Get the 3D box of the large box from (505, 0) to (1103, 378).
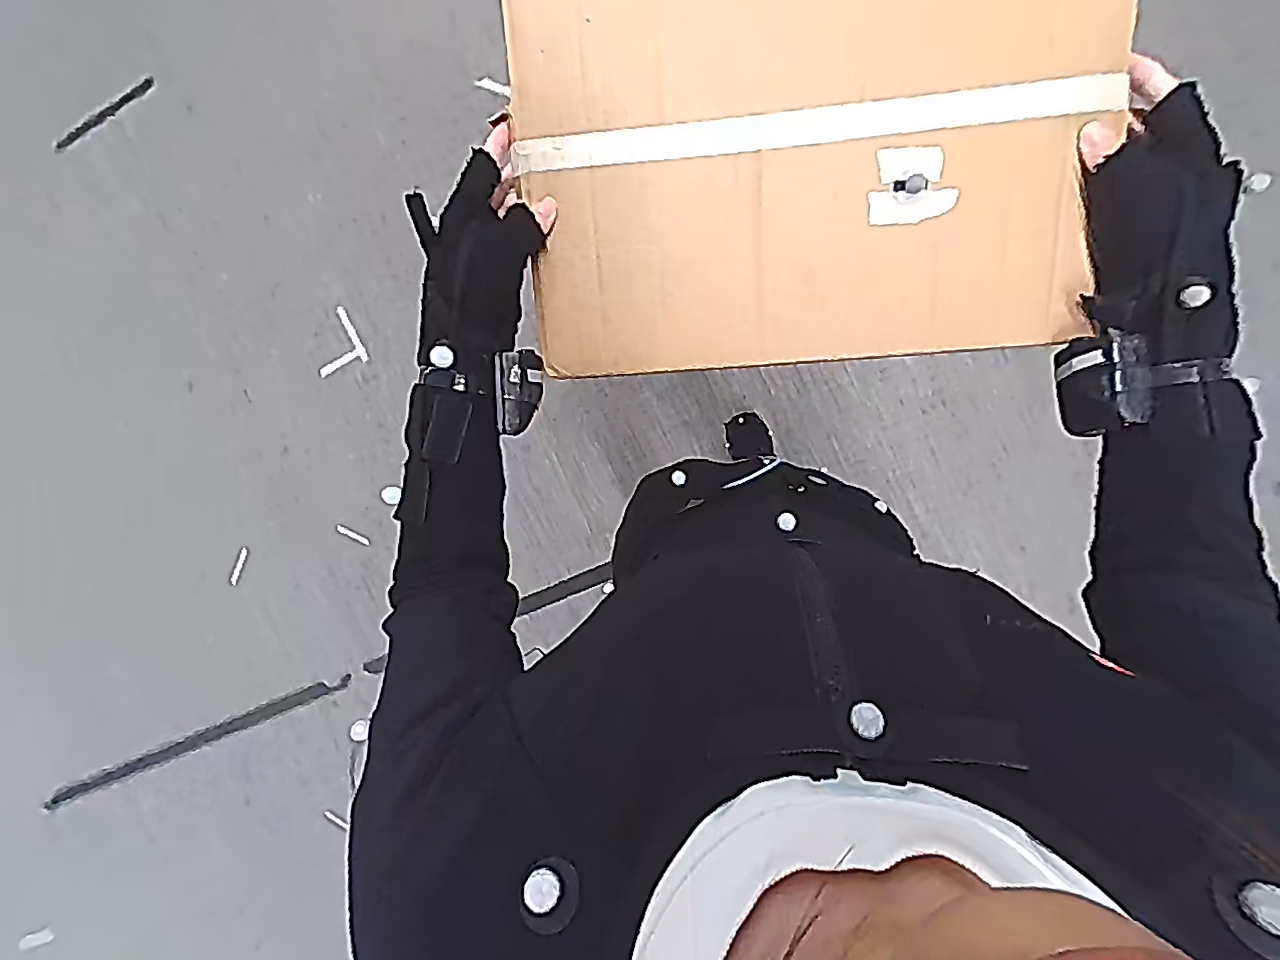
[{"bbox_3d":[0.120,-0.280,0.531,0.408,0.320,0.320,-4,103,4],"label":"large box"}]
